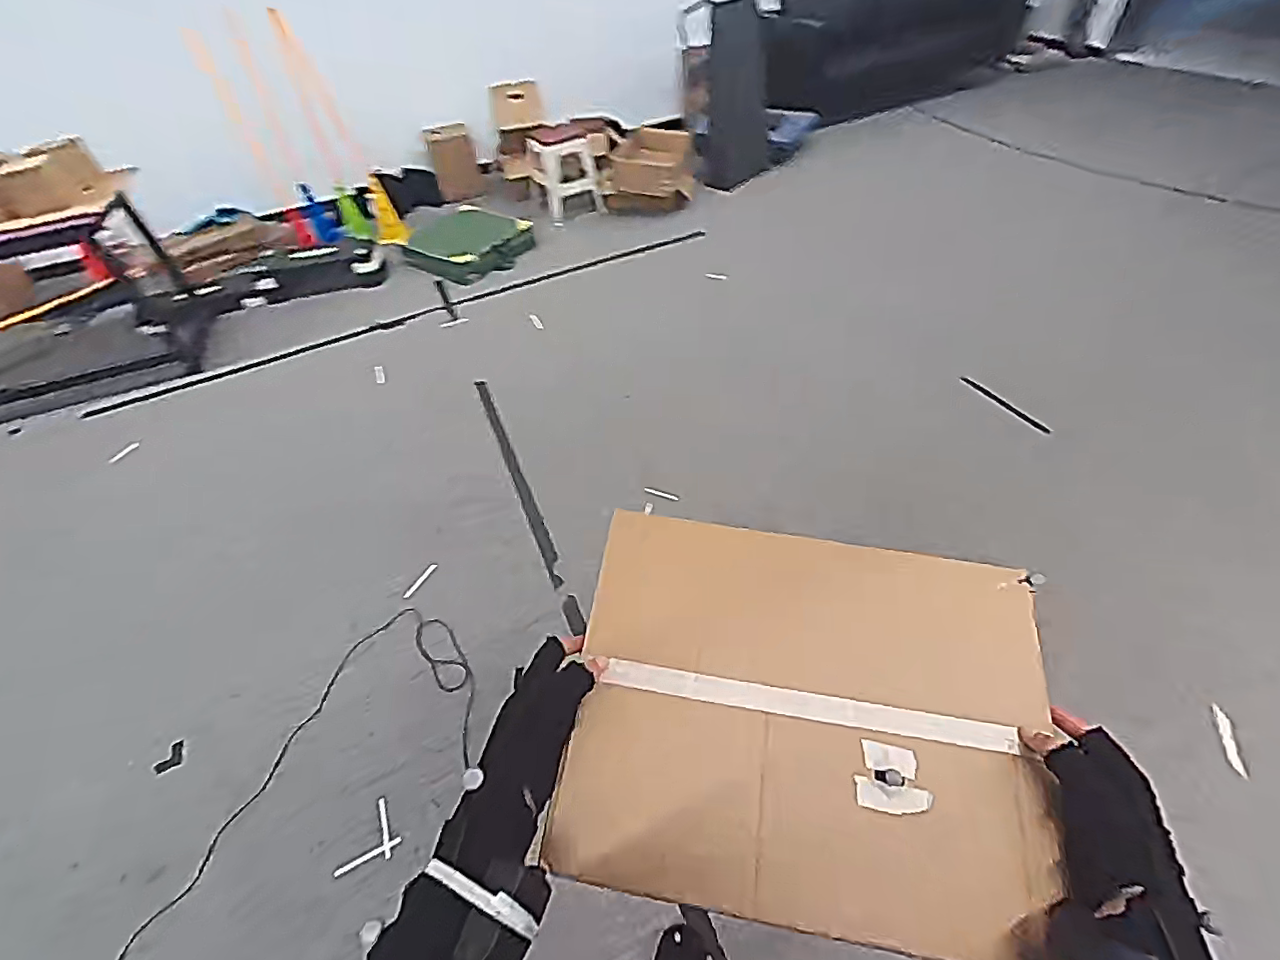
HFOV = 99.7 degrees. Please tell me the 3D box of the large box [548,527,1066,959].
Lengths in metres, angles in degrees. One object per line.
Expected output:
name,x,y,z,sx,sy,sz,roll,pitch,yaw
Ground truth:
large box,0.142,0.271,0.614,0.408,0.320,0.320,7,63,5
